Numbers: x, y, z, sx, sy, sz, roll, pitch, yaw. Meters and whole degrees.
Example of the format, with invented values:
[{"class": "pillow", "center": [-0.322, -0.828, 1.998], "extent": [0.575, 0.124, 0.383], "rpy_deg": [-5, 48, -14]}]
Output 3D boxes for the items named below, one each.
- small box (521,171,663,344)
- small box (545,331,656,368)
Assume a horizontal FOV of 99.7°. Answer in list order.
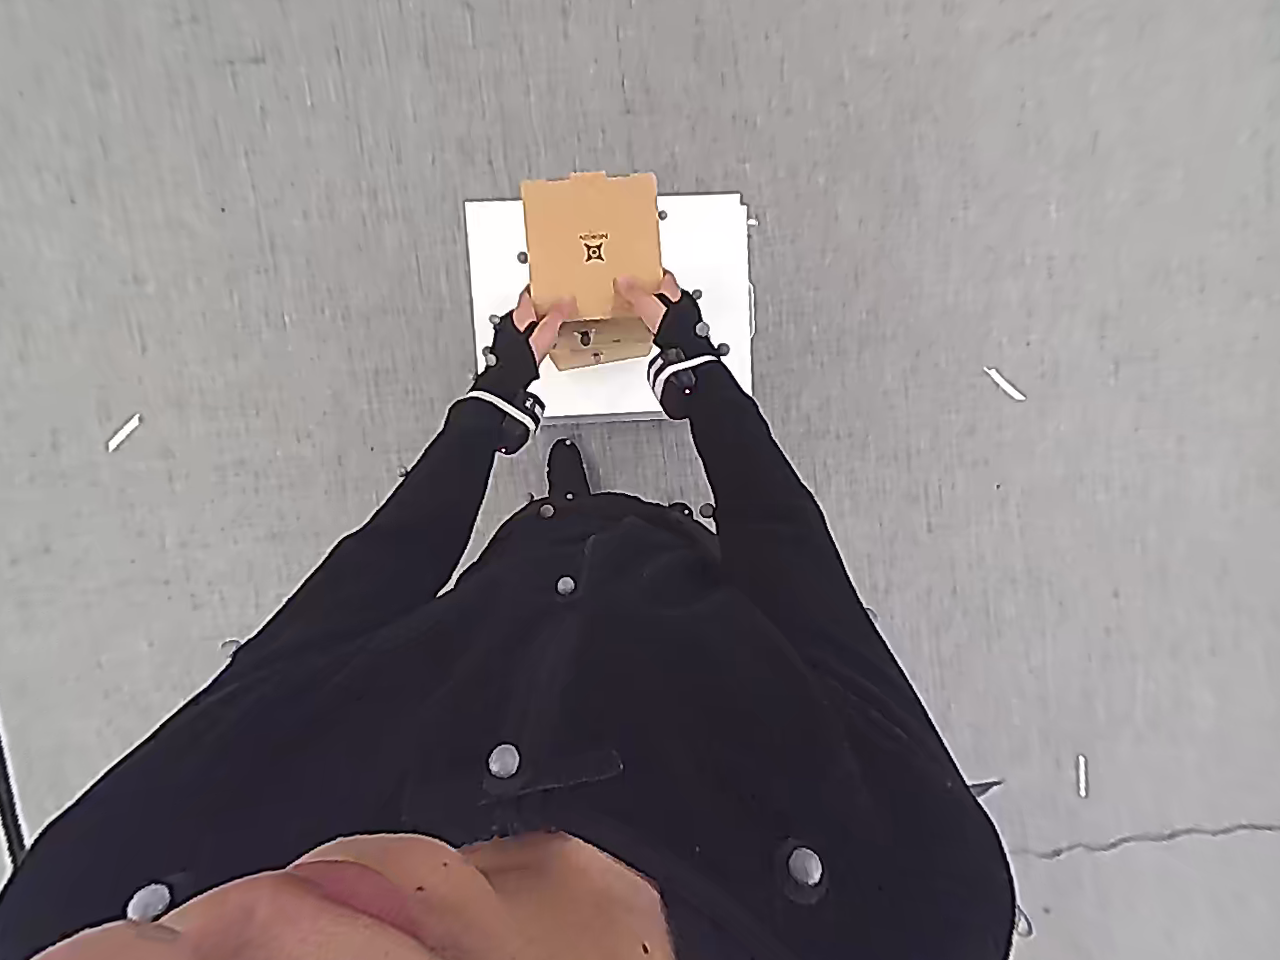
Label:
[{"class": "small box", "center": [-0.061, -0.288, 0.738], "extent": [0.168, 0.176, 0.179], "rpy_deg": [-5, 92, -3]}, {"class": "small box", "center": [-0.077, -0.296, 0.930], "extent": [0.179, 0.176, 0.168], "rpy_deg": [-11, 95, -3]}]
